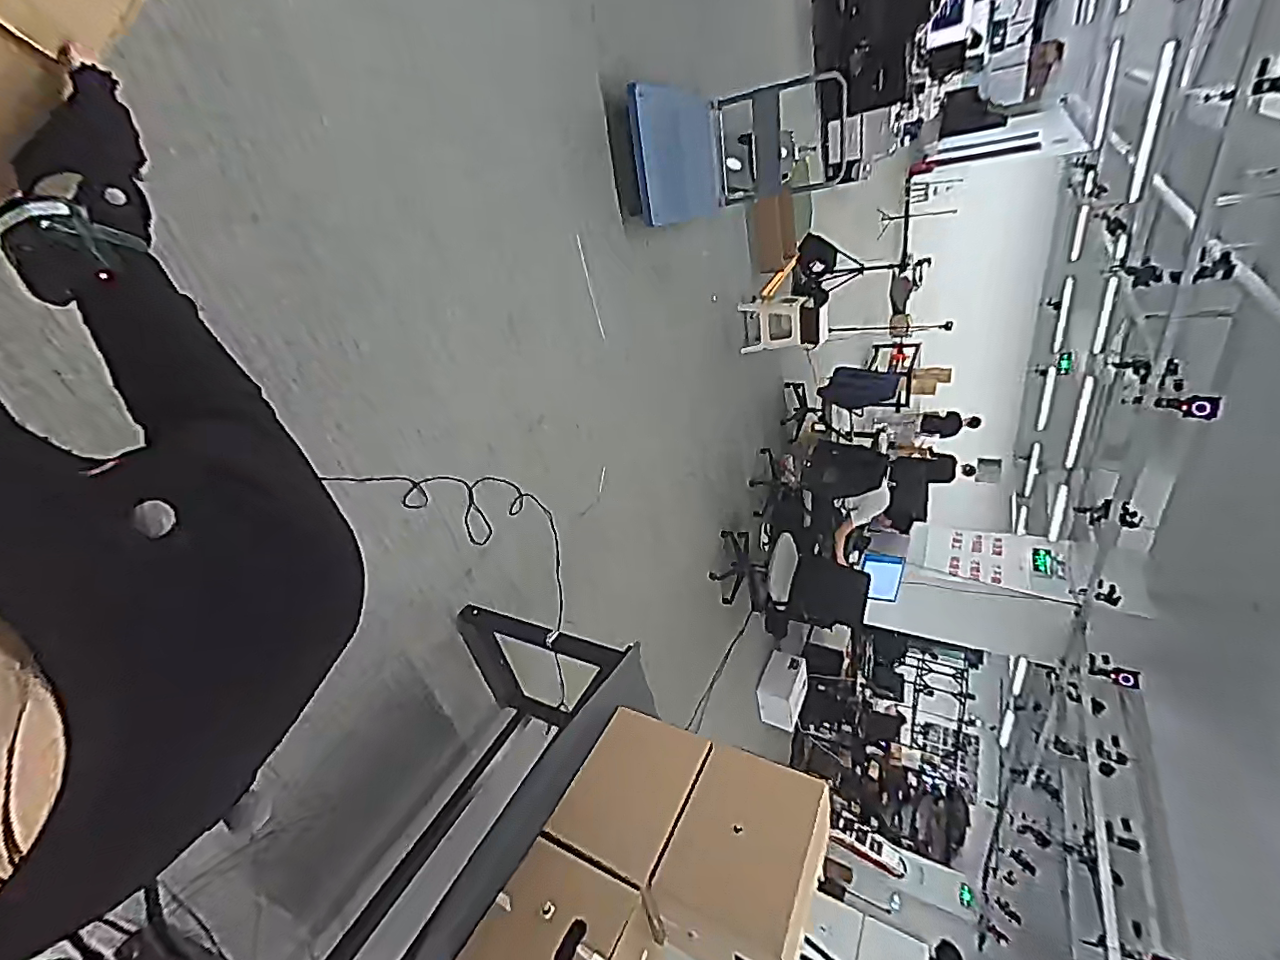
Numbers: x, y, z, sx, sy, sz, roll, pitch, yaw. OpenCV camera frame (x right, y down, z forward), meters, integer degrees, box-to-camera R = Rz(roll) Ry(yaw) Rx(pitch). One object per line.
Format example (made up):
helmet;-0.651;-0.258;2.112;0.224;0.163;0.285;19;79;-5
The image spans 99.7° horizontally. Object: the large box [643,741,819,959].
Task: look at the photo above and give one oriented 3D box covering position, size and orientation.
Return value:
large box;0.249;0.970;1.372;0.408;0.320;0.320;-47;136;-47
